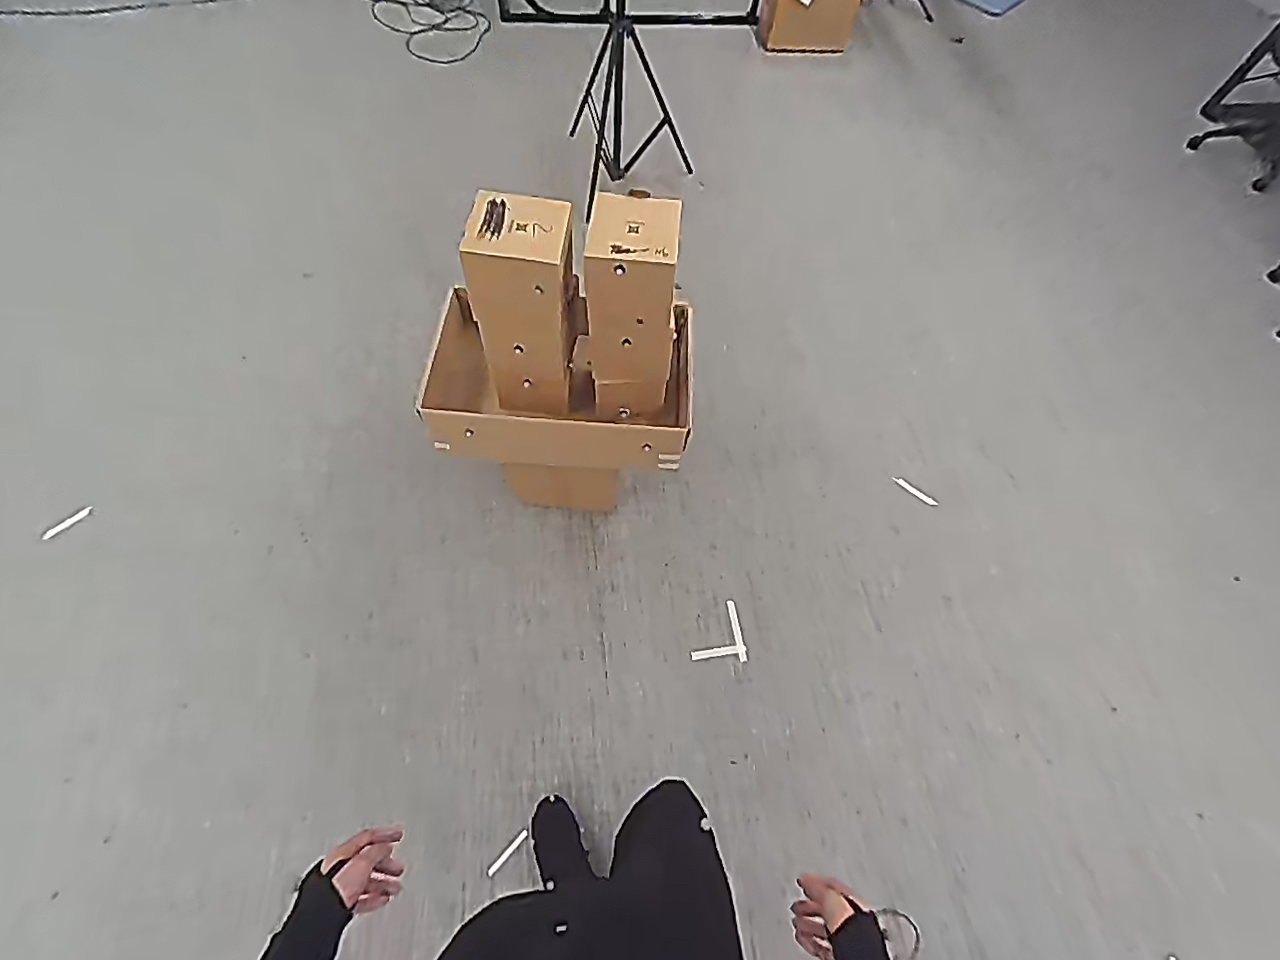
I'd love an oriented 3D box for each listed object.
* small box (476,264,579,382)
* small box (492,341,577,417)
[{"bbox_3d":[-0.233,-0.333,1.173,0.179,0.176,0.168,10,62,1],"label":"small box"},{"bbox_3d":[-0.249,-0.272,1.325,0.179,0.176,0.168,6,62,-3],"label":"small box"}]
